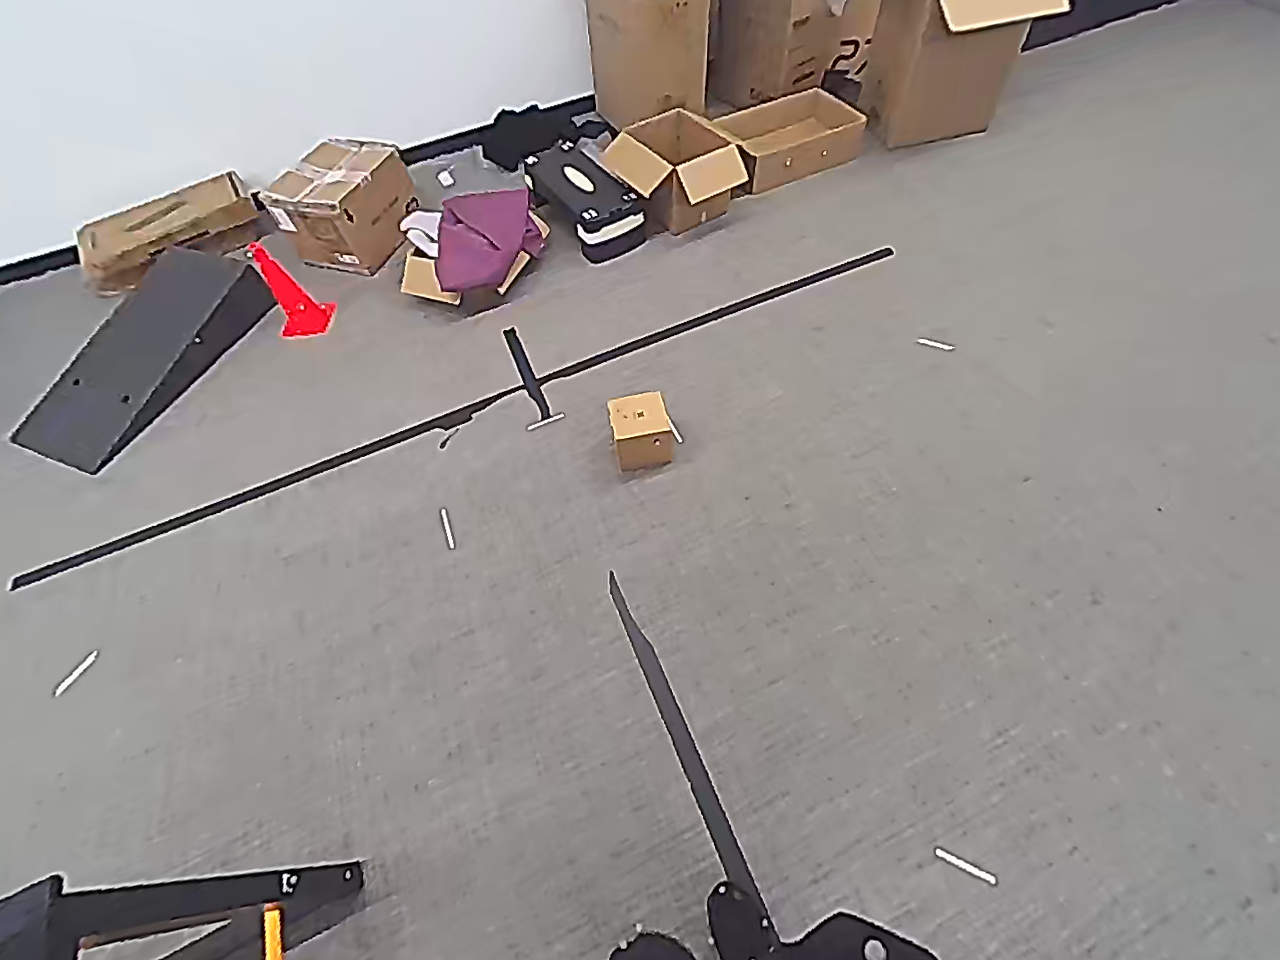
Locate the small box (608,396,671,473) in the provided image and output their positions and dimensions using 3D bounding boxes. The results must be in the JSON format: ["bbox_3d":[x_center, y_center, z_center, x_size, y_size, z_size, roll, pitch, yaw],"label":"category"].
[{"bbox_3d":[0.001,-0.143,1.752,0.179,0.176,0.168,-11,56,-2],"label":"small box"}]
